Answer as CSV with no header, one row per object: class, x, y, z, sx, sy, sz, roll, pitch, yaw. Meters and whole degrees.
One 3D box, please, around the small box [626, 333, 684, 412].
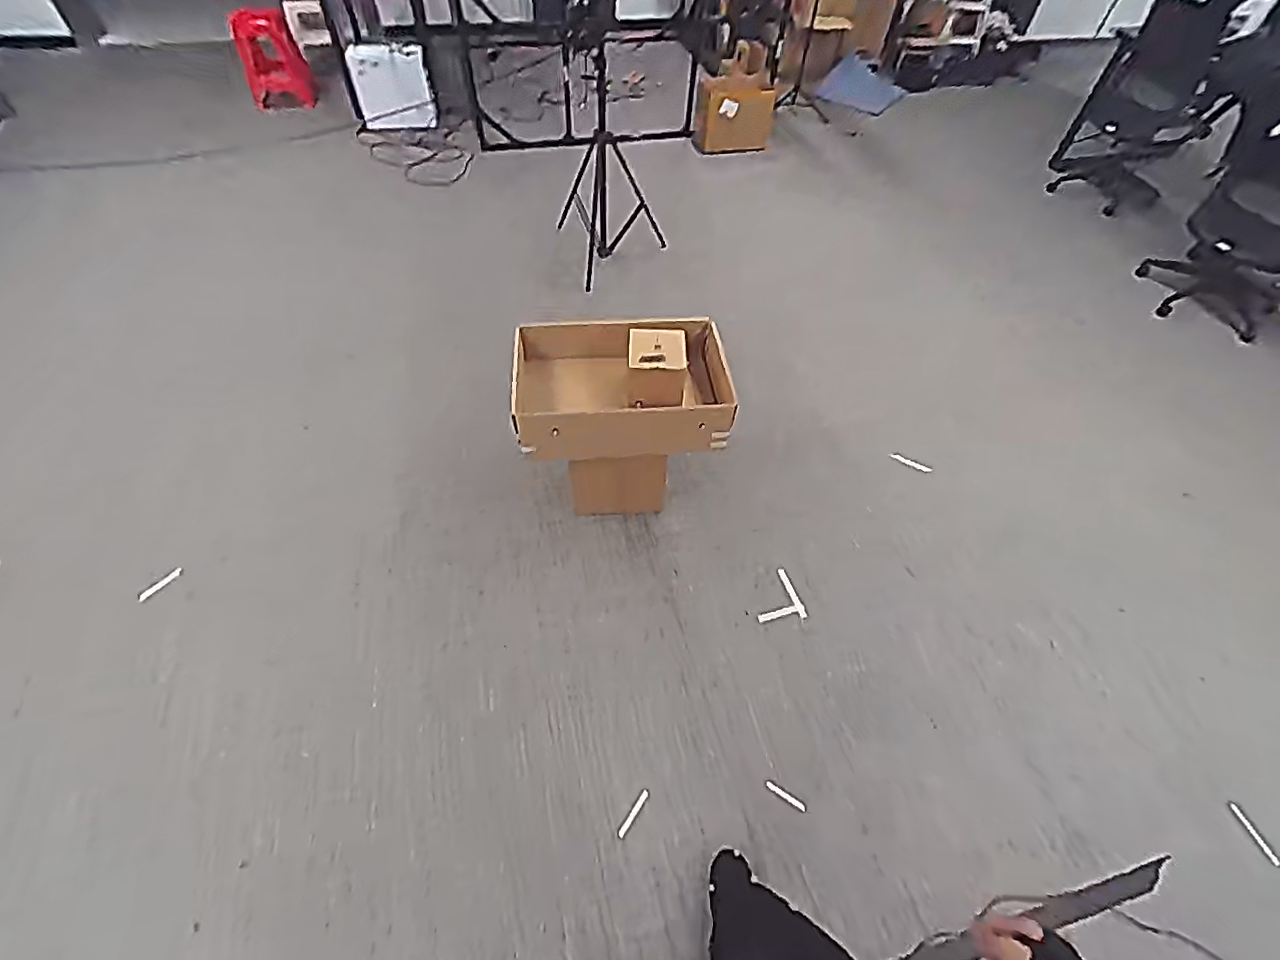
small box,0.043,-0.318,1.622,0.168,0.176,0.179,1,52,-1
